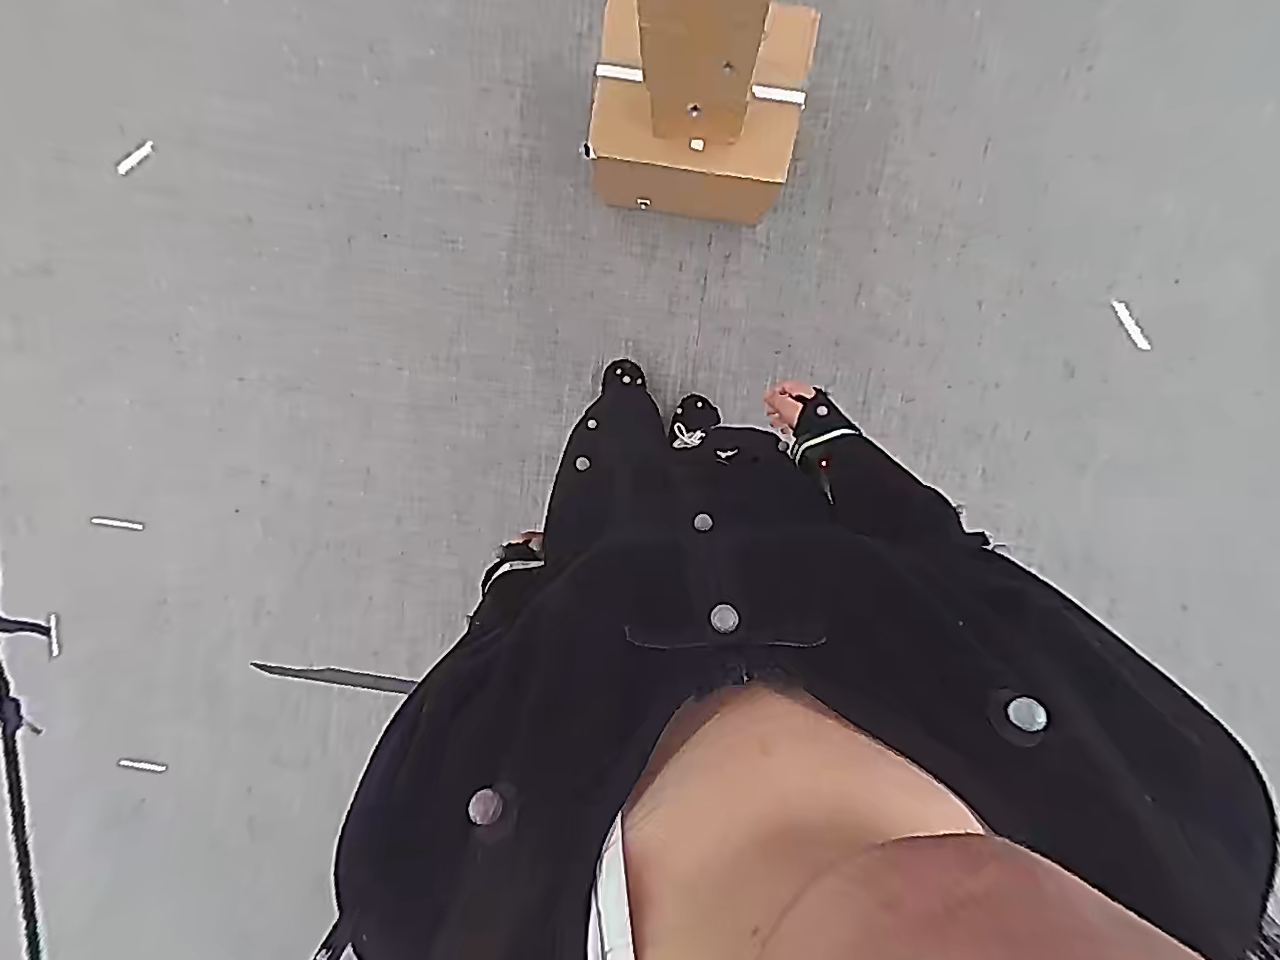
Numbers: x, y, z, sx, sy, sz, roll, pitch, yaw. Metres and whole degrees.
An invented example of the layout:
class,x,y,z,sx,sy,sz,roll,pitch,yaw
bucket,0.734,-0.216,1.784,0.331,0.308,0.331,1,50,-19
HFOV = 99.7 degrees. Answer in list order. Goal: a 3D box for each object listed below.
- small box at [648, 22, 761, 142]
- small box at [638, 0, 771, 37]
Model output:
class,x,y,z,sx,sy,sz,roll,pitch,yaw
small box,0.112,-0.738,0.976,0.179,0.176,0.168,7,101,1
small box,0.093,-0.683,0.653,0.179,0.176,0.168,11,100,1
